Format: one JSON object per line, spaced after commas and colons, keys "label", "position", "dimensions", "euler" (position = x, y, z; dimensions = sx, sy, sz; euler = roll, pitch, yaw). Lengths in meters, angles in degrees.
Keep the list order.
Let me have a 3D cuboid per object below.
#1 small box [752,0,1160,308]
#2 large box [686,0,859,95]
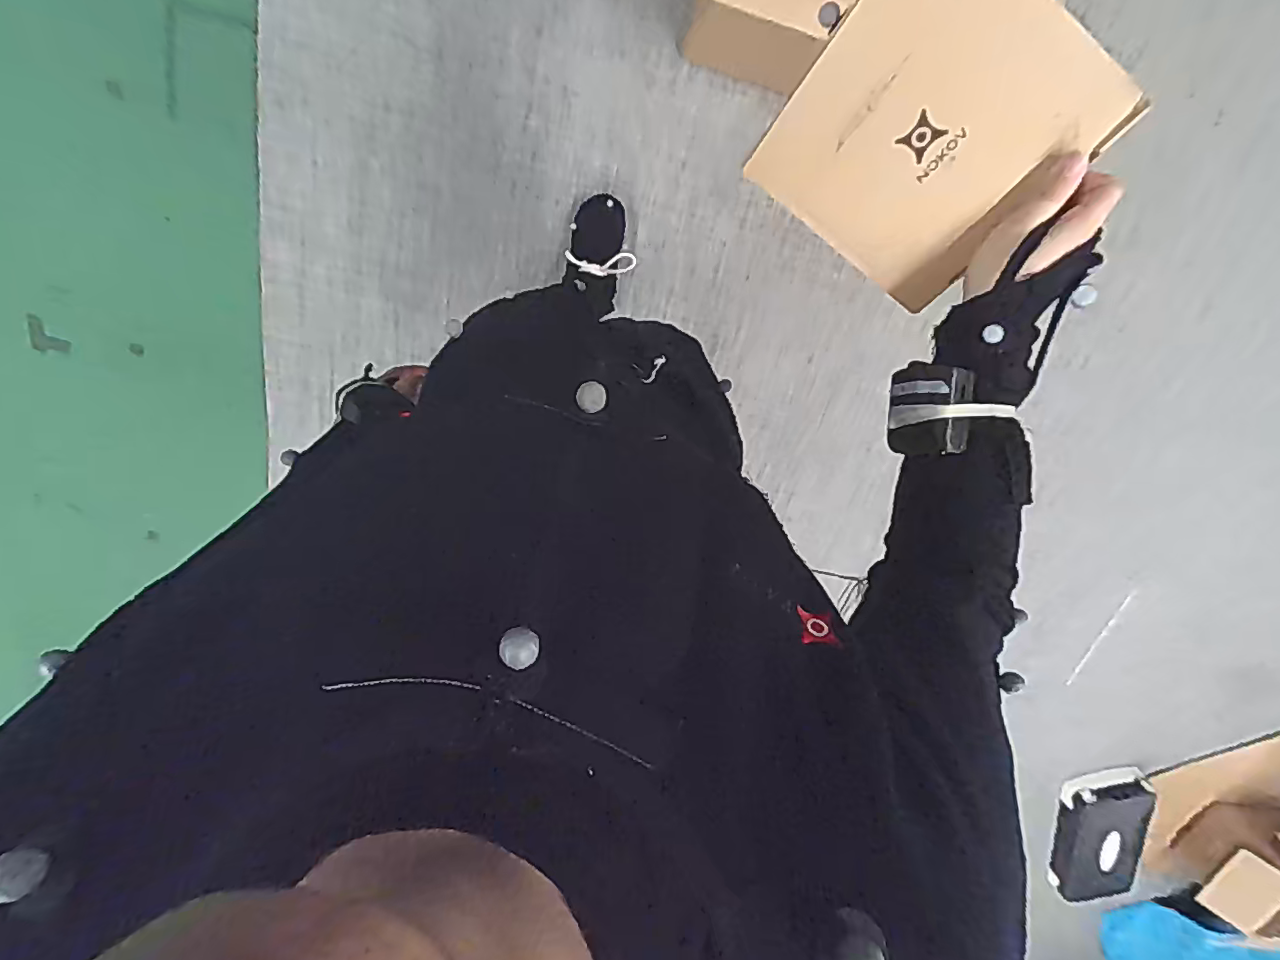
{"label": "small box", "position": [0.212, -0.271, 0.405], "dimensions": [0.179, 0.176, 0.168], "euler": [35, 131, -9]}
{"label": "large box", "position": [0.322, -0.856, 0.893], "dimensions": [0.408, 0.320, 0.320], "euler": [10, 114, -10]}
